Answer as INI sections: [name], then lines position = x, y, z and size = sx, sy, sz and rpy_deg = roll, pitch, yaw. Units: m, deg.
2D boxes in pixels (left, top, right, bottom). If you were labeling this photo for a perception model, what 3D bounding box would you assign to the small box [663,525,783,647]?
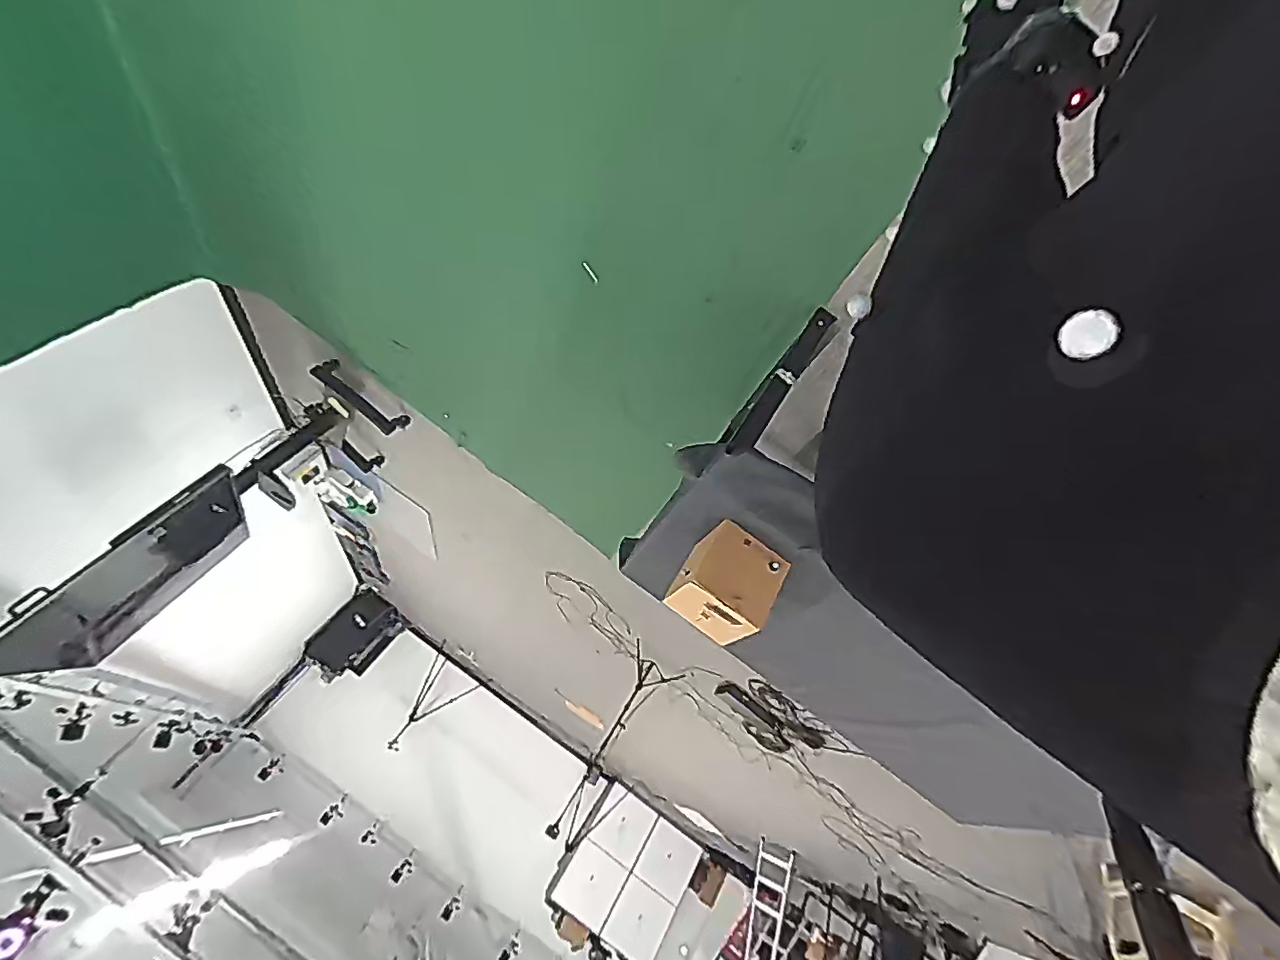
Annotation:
[small box]
position = 0.180, 0.223, 1.147
size = 0.168, 0.176, 0.179
rpy_deg = 36, 149, 1
